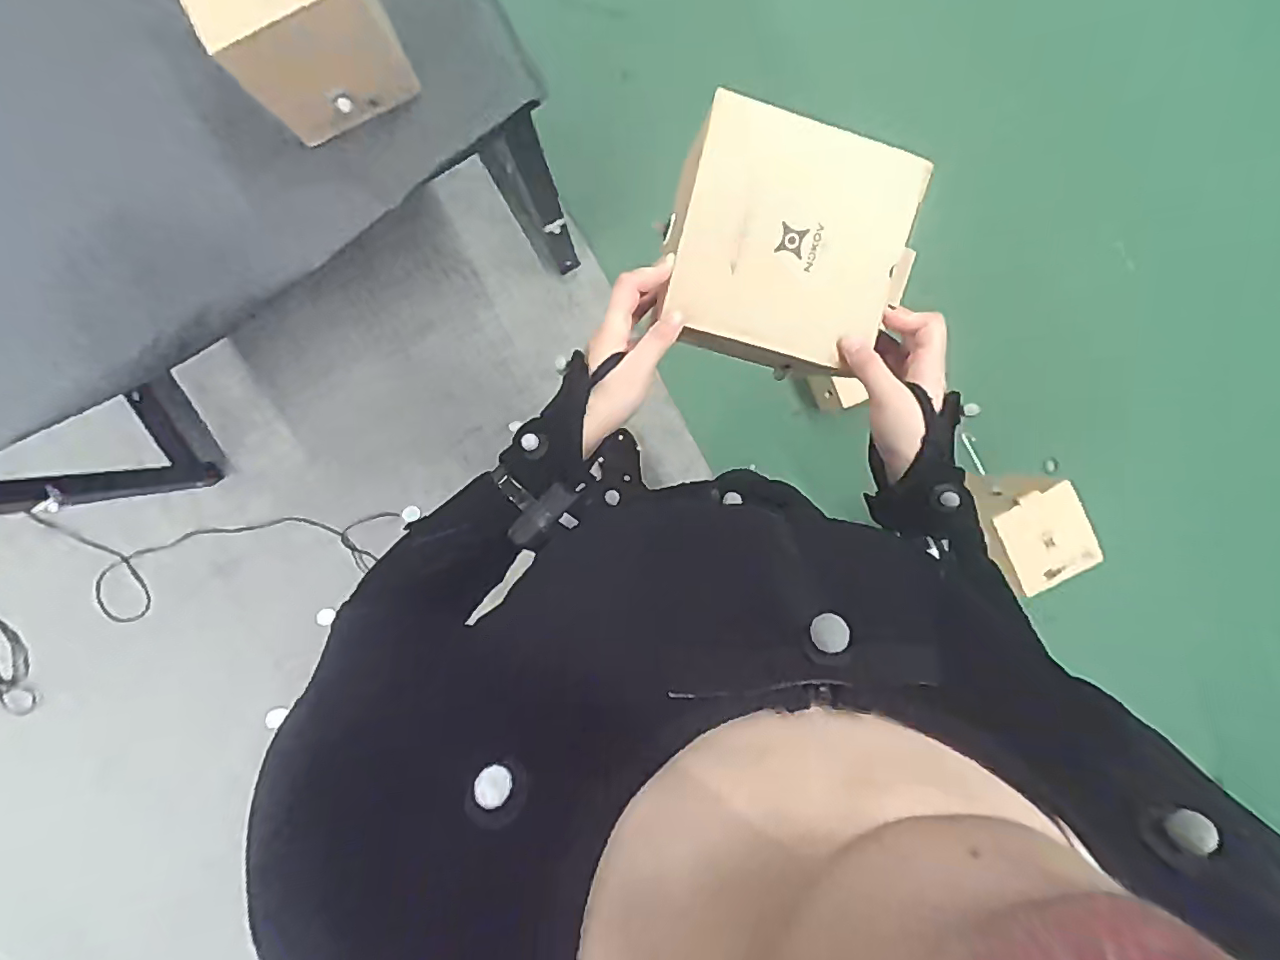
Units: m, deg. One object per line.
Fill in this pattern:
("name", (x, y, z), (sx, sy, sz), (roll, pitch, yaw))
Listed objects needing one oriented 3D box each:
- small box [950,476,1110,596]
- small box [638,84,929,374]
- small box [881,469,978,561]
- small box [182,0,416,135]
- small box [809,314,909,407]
("small box", (0.765, 0.102, 1.083), (0.168, 0.176, 0.179), (-27, 94, 1))
("small box", (0.104, -0.196, 0.477), (0.179, 0.176, 0.168), (12, 100, -7))
("small box", (0.766, 0.083, 1.411), (0.168, 0.176, 0.179), (-26, 95, 2))
("small box", (-0.387, -0.540, 0.603), (0.168, 0.176, 0.179), (-25, 93, 2))
("small box", (0.539, -0.294, 1.372), (0.168, 0.176, 0.179), (-24, 95, 1))
